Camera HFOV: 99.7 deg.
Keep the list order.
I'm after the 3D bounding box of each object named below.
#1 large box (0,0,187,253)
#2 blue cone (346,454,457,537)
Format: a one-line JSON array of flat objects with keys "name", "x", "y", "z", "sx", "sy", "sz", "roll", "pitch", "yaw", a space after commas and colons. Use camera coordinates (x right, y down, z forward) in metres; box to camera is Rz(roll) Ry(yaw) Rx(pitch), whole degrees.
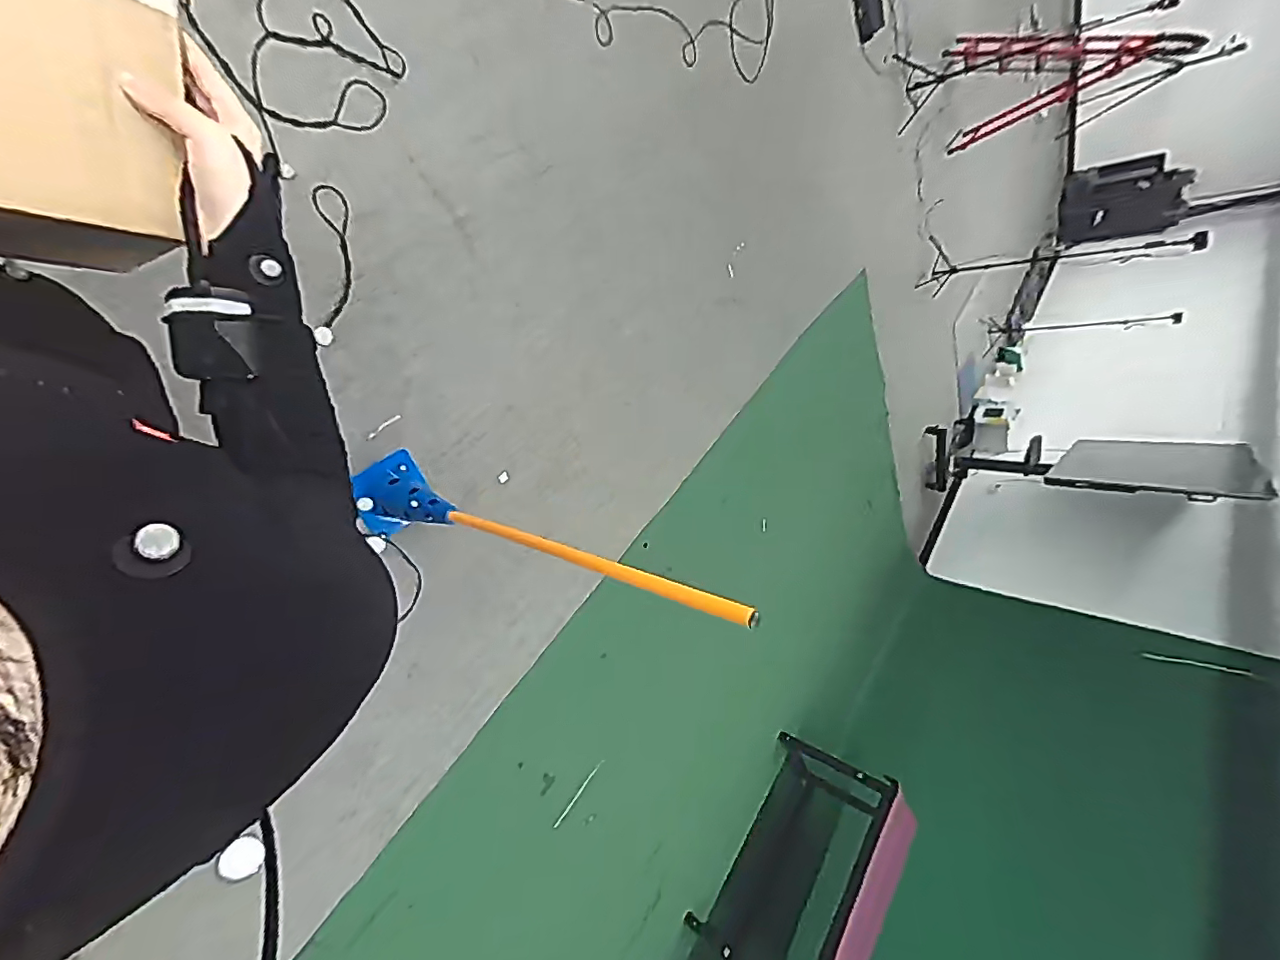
[{"name": "large box", "x": -0.572, "y": -0.347, "z": 0.317, "sx": 0.408, "sy": 0.320, "sz": 0.320, "roll": -9, "pitch": 107, "yaw": -50}, {"name": "blue cone", "x": -0.588, "y": 0.063, "z": 1.409, "sx": 0.193, "sy": 0.380, "sz": 0.192, "roll": -40, "pitch": 125, "yaw": -35}]
